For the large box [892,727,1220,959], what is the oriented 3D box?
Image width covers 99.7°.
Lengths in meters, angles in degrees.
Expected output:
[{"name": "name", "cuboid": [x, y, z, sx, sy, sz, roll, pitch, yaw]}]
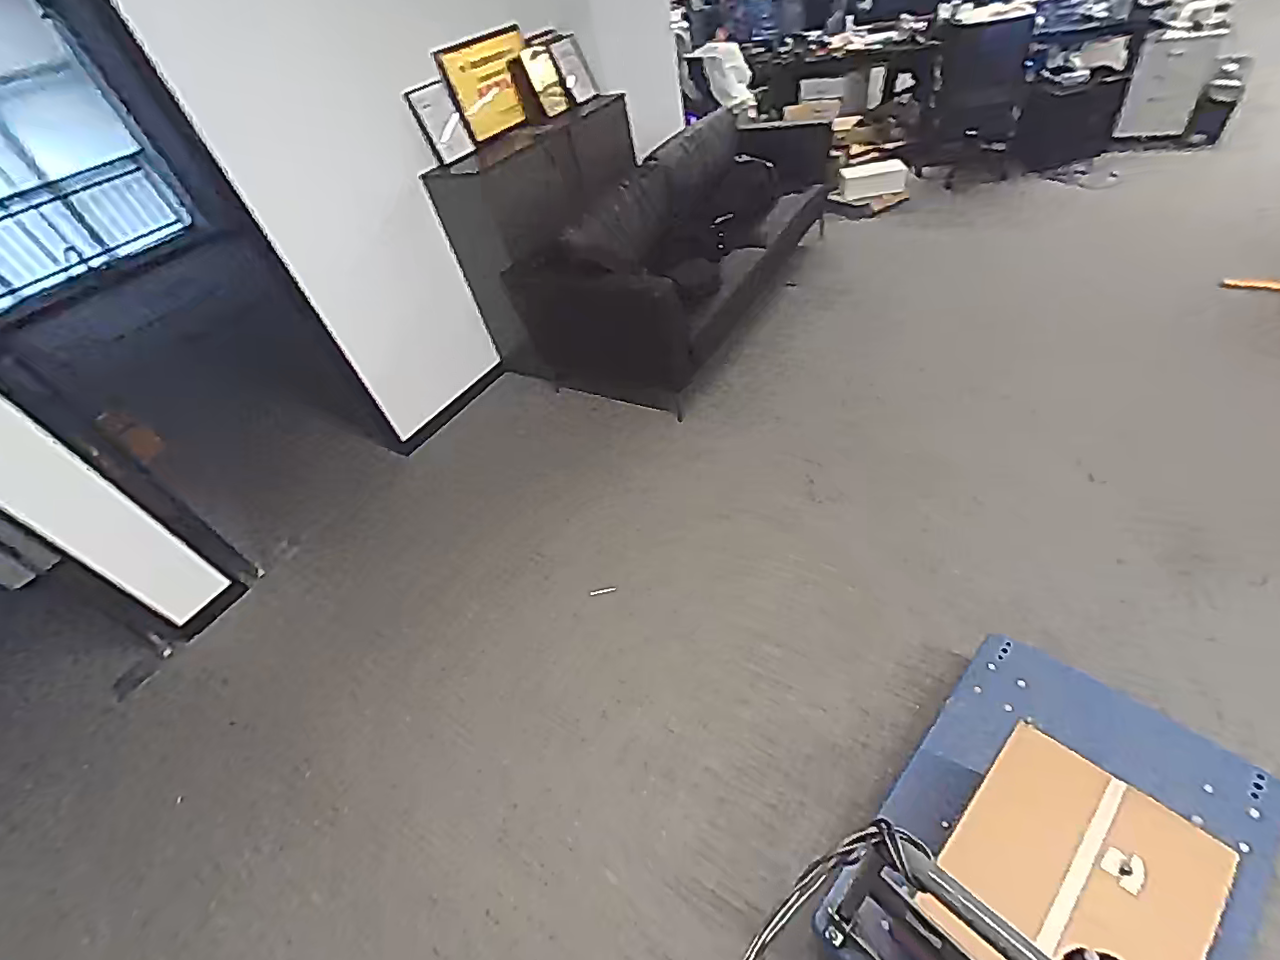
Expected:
[{"name": "large box", "cuboid": [0.706, 0.755, 0.964, 0.408, 0.320, 0.320, -38, 47, -24]}]
